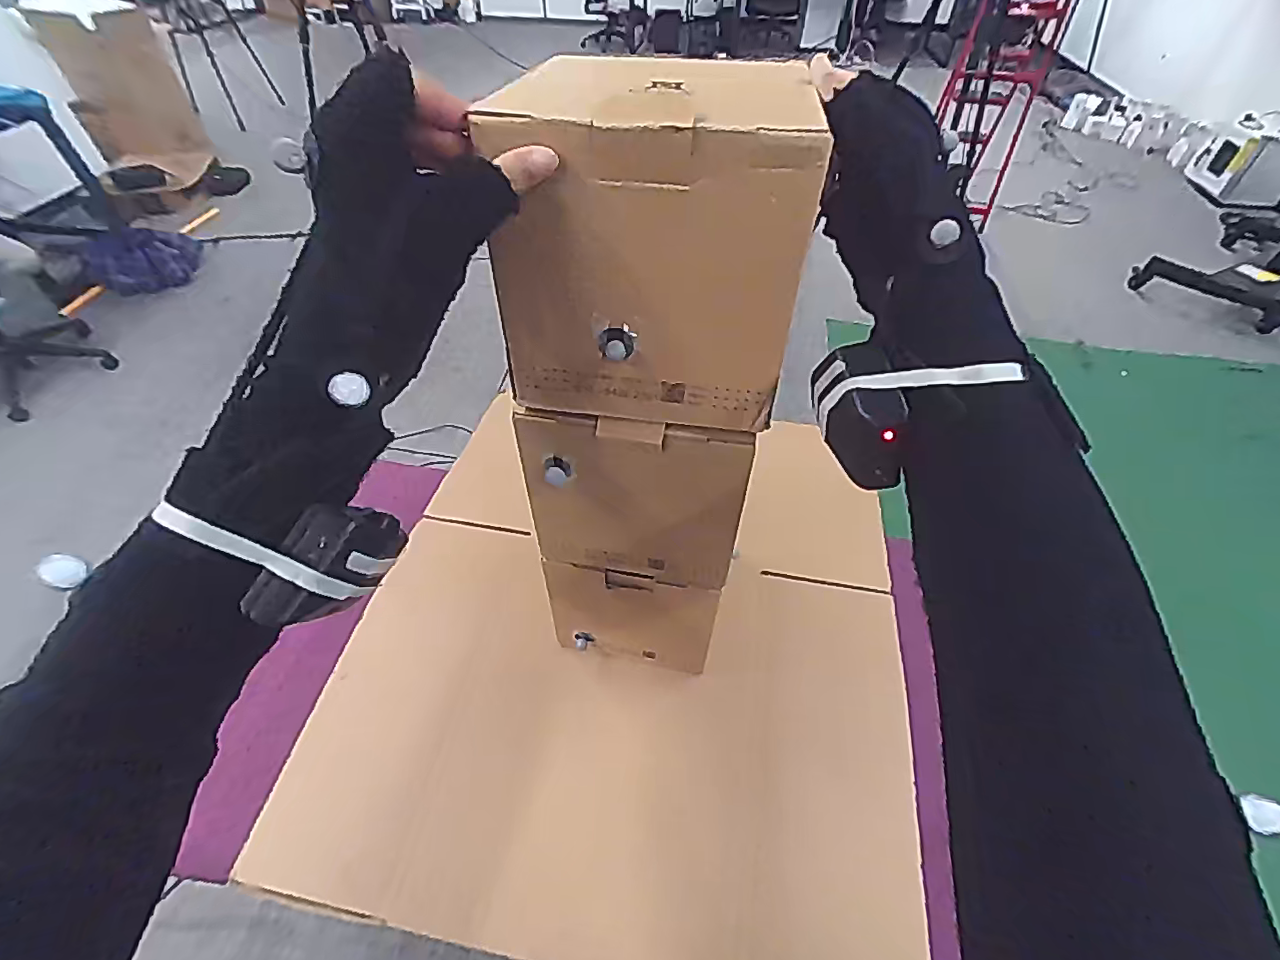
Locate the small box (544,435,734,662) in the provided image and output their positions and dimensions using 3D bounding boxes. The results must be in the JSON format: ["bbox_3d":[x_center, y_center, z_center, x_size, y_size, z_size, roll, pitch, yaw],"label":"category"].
[{"bbox_3d":[0.007,0.077,0.587,0.168,0.176,0.179,7,49,5],"label":"small box"}]
